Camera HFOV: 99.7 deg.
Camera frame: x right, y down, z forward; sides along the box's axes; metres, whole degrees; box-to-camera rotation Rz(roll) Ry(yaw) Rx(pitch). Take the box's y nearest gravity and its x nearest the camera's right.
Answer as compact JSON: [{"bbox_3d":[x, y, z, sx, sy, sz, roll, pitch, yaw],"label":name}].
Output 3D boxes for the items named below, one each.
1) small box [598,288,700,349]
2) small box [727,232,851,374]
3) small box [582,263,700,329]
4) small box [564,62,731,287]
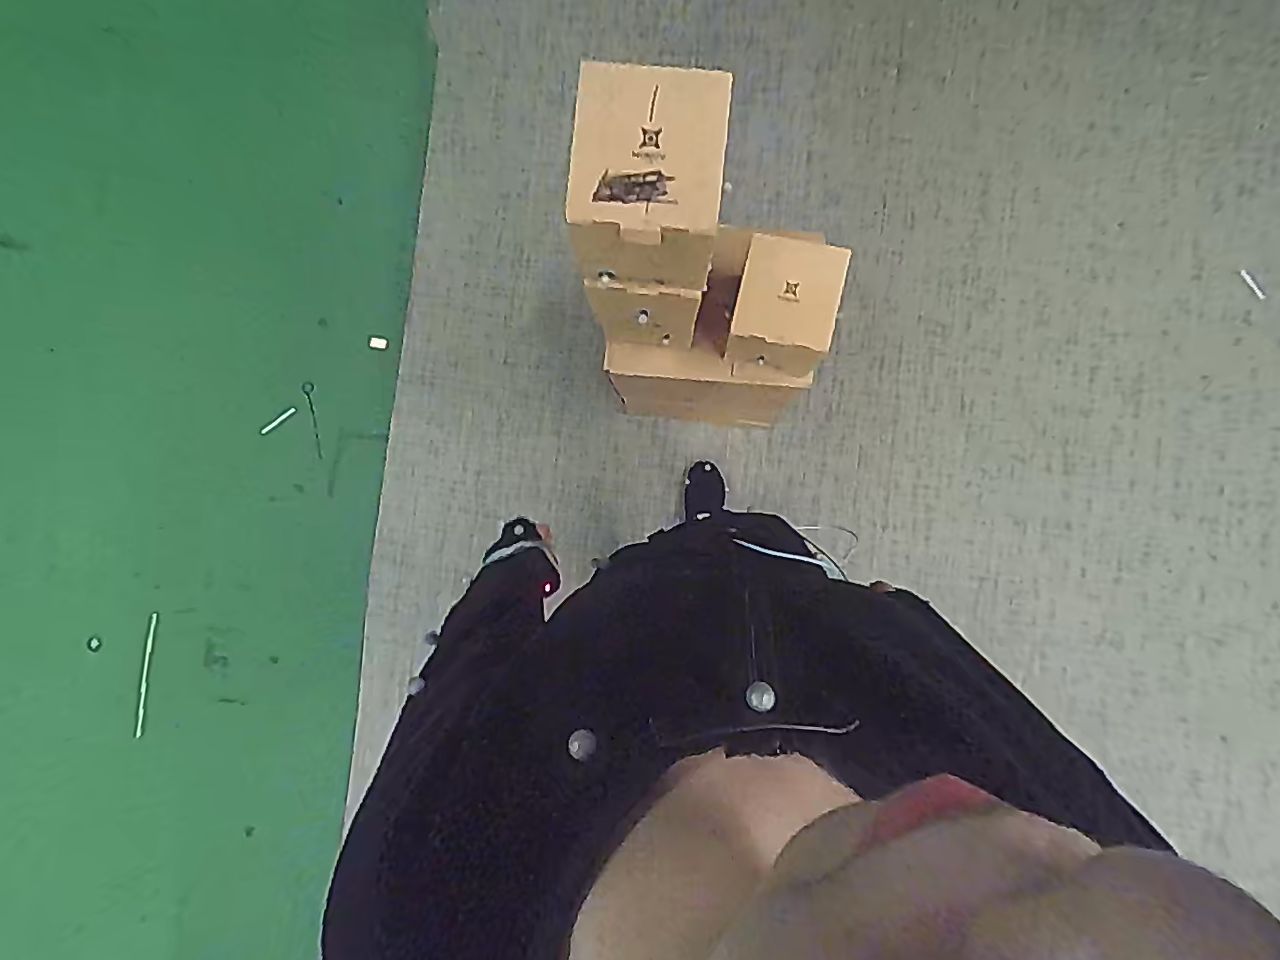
[{"bbox_3d":[0.024,-0.347,0.982,0.168,0.176,0.179,8,89,2],"label":"small box"},{"bbox_3d":[0.254,-0.305,0.963,0.168,0.176,0.179,12,89,6],"label":"small box"},{"bbox_3d":[0.013,-0.340,0.818,0.168,0.176,0.179,6,90,2],"label":"small box"},{"bbox_3d":[0.011,-0.352,0.654,0.168,0.176,0.179,6,88,2],"label":"small box"}]
